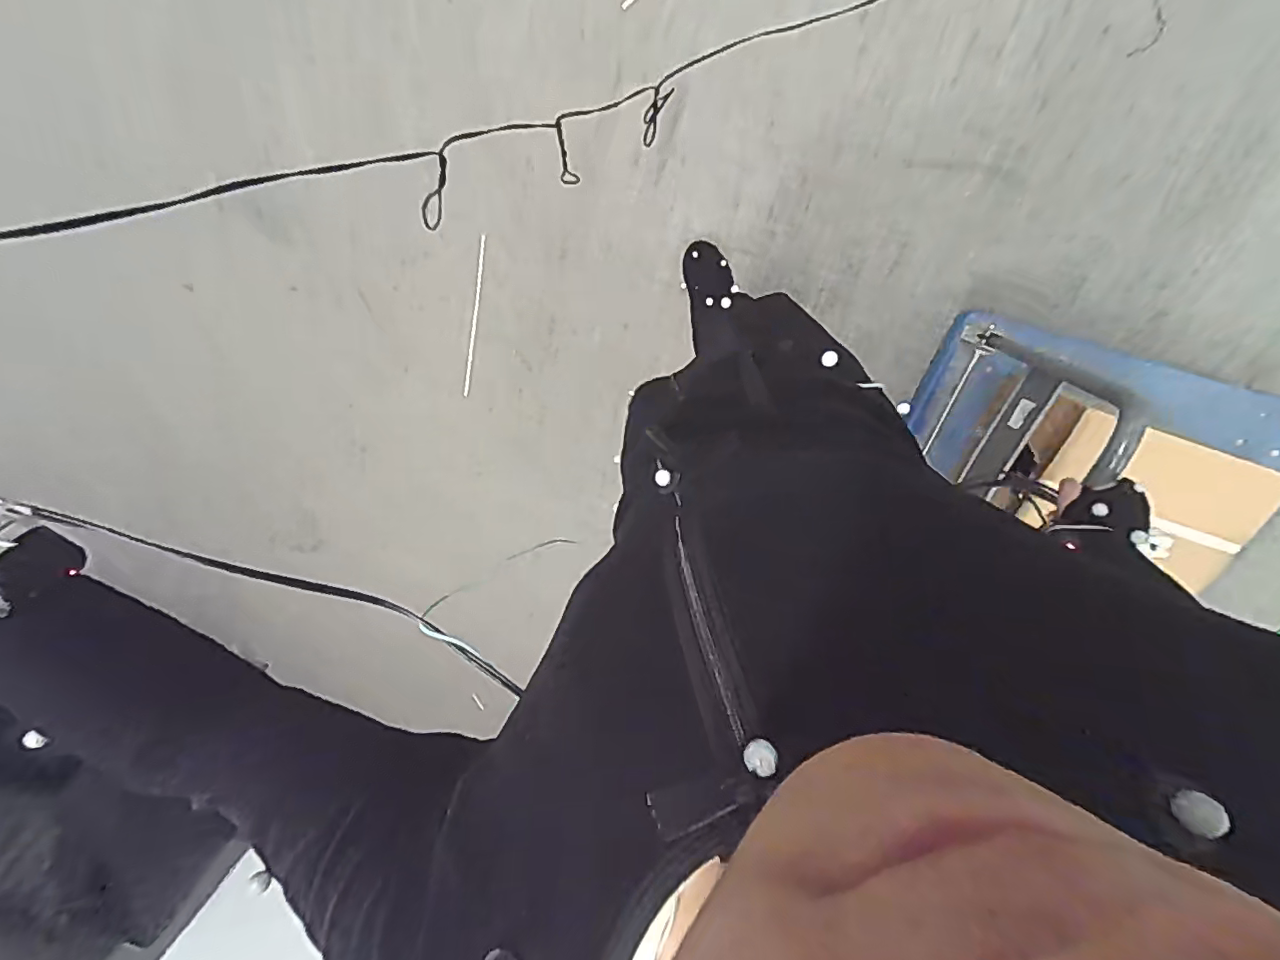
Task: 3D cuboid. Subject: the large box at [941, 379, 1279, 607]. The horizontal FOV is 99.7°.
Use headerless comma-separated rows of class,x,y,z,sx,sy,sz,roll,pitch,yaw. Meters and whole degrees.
large box,0.966,0.009,1.175,0.408,0.320,0.320,19,115,1
